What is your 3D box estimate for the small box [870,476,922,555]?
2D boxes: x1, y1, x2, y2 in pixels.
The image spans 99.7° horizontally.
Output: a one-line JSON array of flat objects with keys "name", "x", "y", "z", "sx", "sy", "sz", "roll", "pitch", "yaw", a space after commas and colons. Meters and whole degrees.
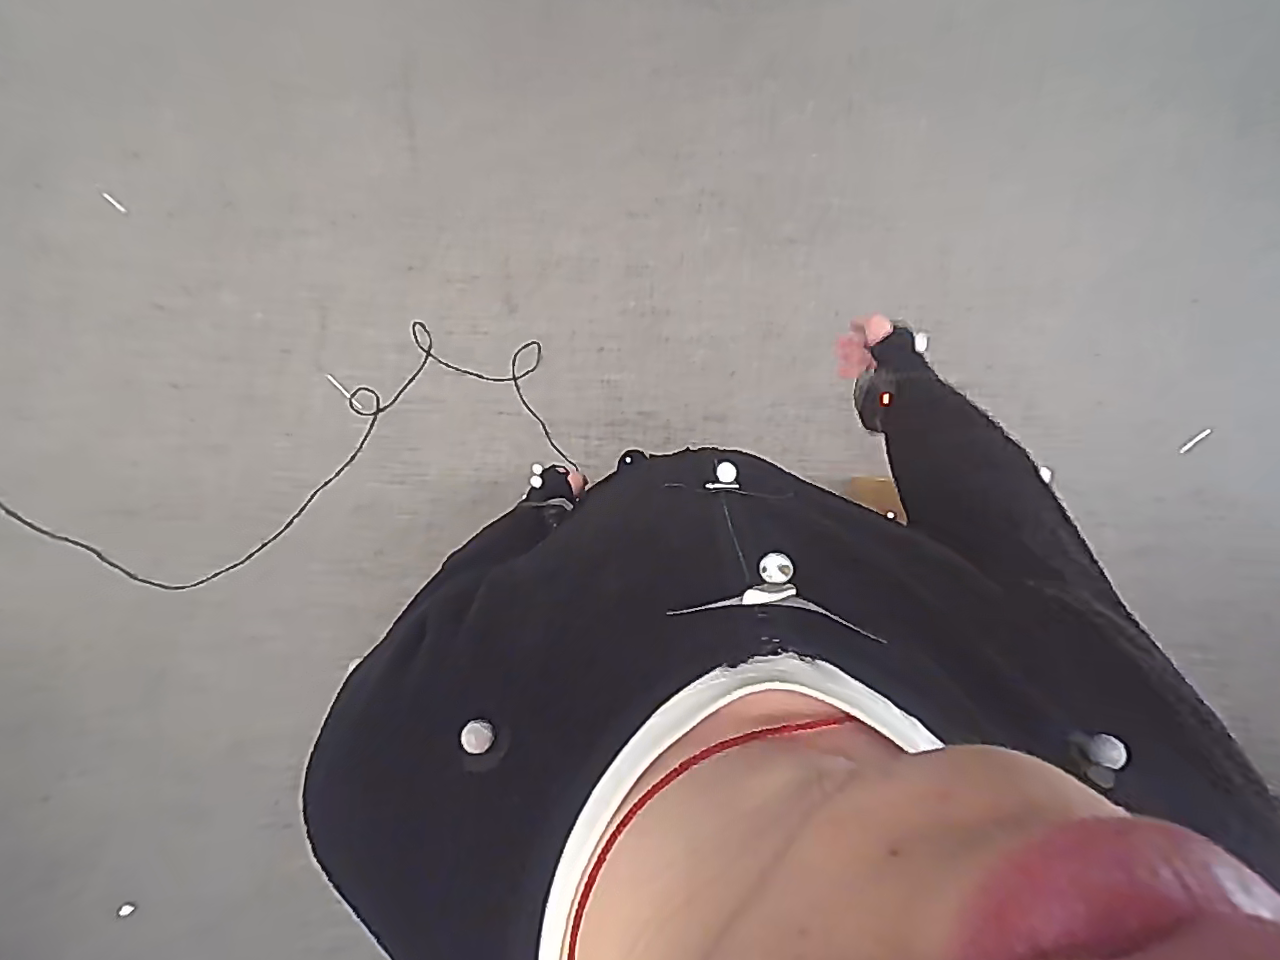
[{"name": "small box", "x": 0.672, "y": 0.081, "z": 1.310, "sx": 0.168, "sy": 0.176, "sz": 0.179, "roll": 1, "pitch": 94, "yaw": 2}]

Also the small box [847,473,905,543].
[{"name": "small box", "x": 0.677, "y": 0.076, "z": 1.471, "sx": 0.168, "sy": 0.176, "sz": 0.179, "roll": 3, "pitch": 92, "yaw": 1}]
